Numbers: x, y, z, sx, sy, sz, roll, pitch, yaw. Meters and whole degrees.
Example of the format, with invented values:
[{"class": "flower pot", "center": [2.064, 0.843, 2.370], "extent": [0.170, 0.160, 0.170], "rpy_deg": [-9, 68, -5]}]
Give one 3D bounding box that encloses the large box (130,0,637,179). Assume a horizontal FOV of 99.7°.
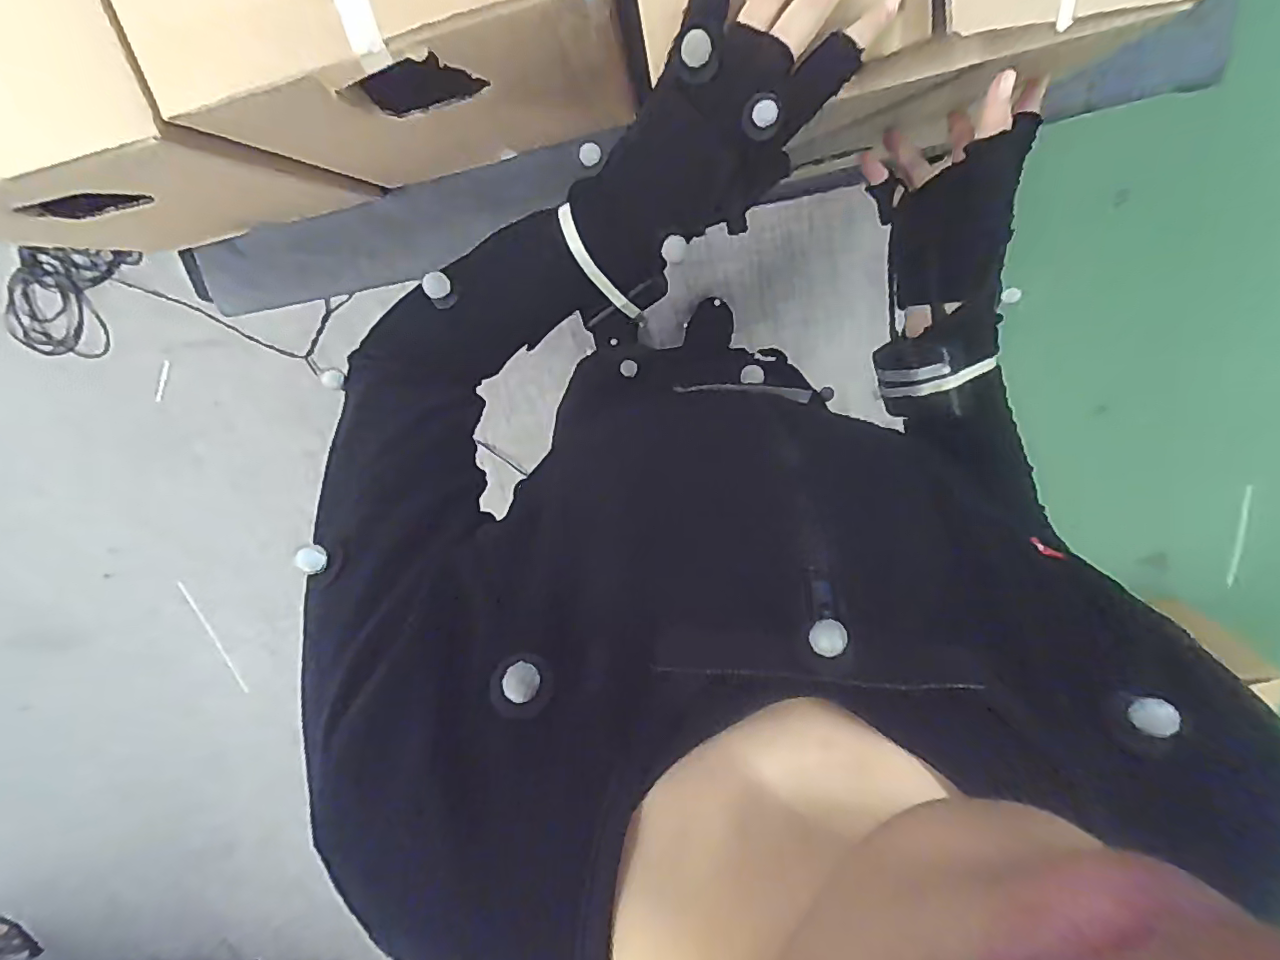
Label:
[{"class": "large box", "center": [-0.200, -0.510, 0.418], "extent": [0.320, 0.320, 0.408], "rpy_deg": [-10, 110, 9]}]
